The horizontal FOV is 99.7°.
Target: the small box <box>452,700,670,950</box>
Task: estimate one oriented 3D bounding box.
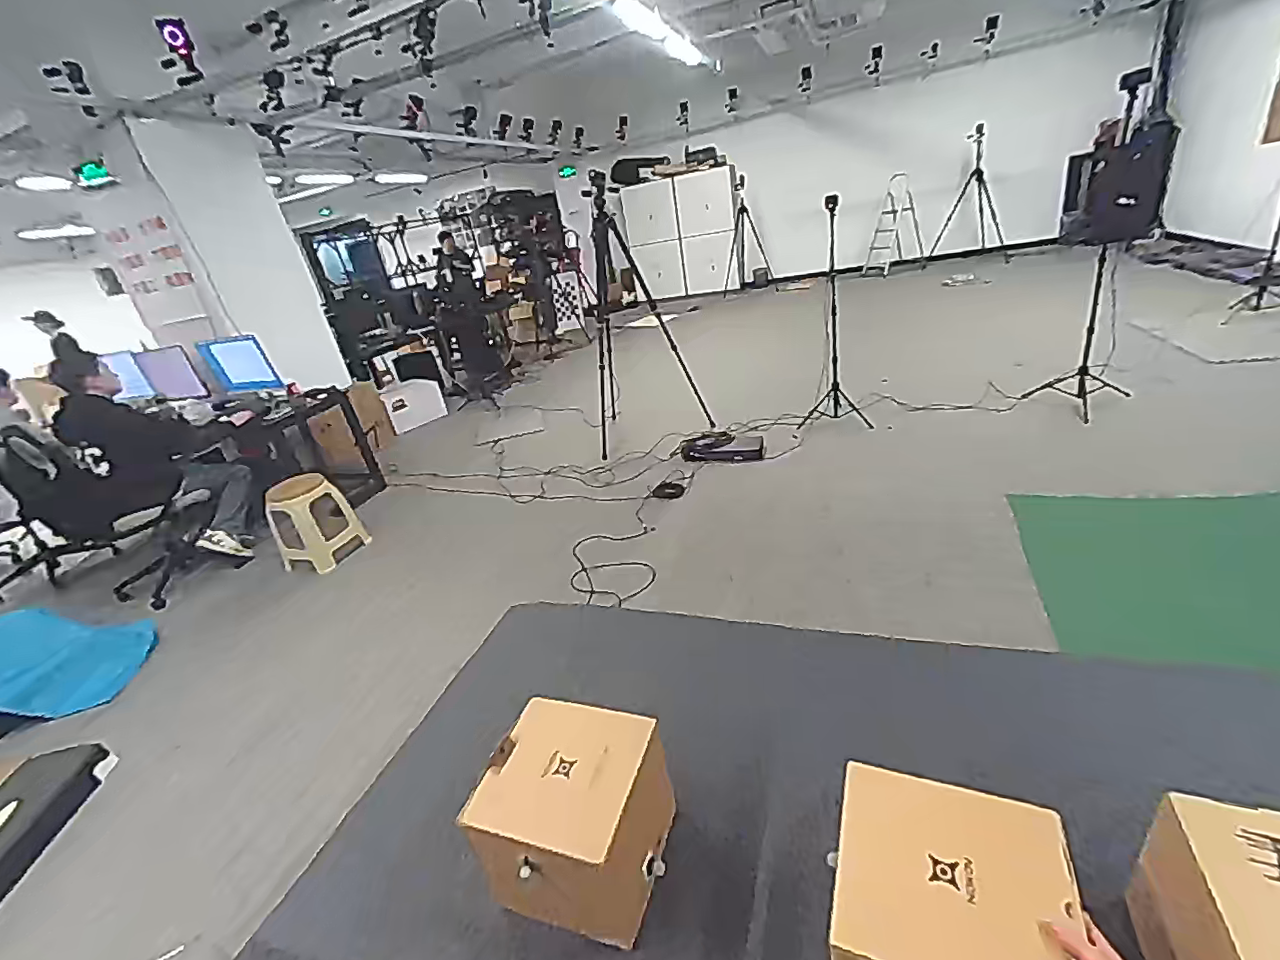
[{"bbox_3d":[-0.077,0.389,0.625,0.179,0.176,0.168,1,28,22],"label":"small box"}]

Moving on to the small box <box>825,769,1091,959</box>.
[{"bbox_3d":[0.263,0.398,0.470,0.179,0.176,0.168,3,28,25],"label":"small box"}]
